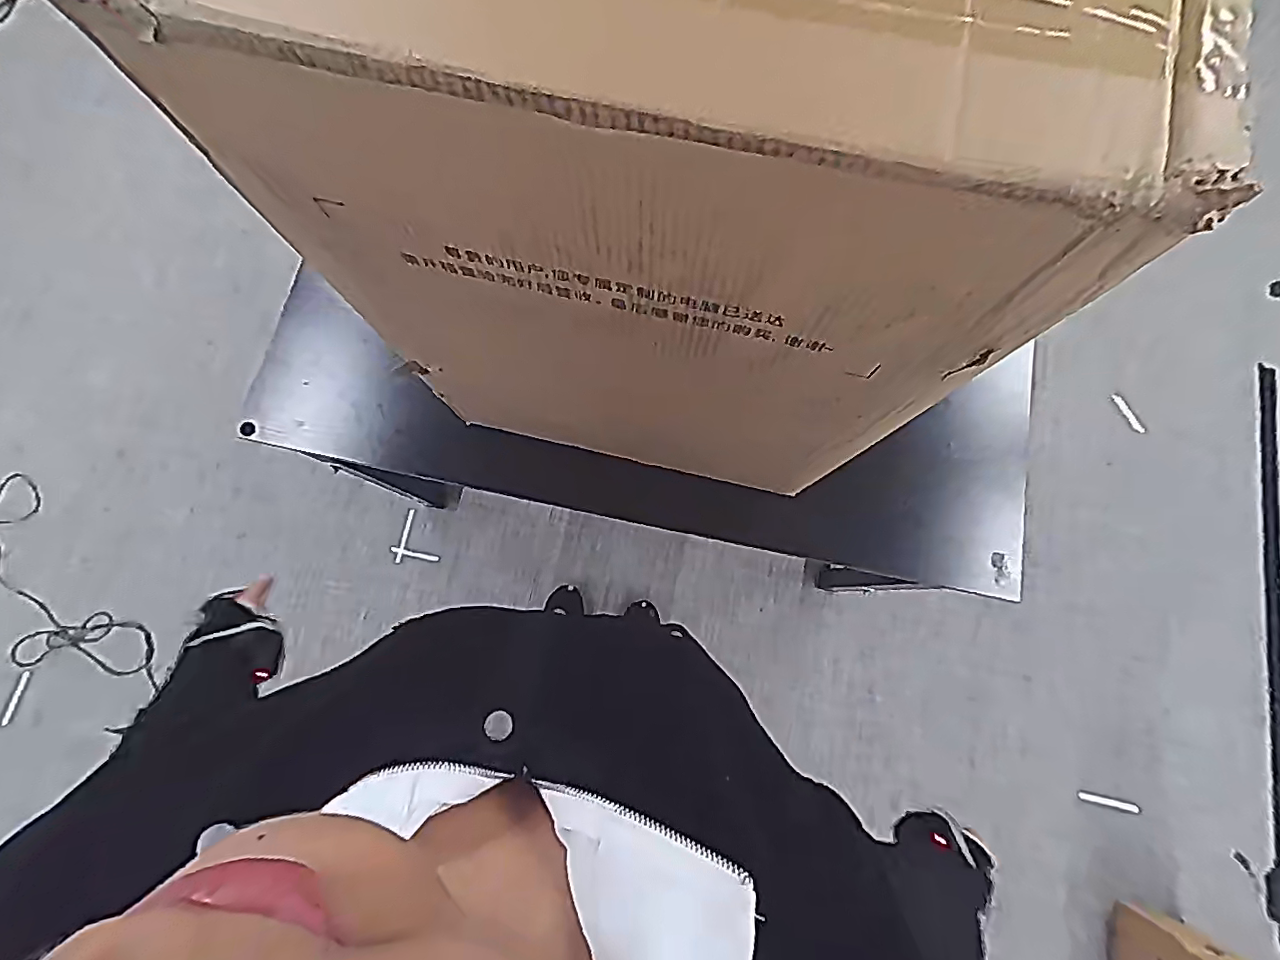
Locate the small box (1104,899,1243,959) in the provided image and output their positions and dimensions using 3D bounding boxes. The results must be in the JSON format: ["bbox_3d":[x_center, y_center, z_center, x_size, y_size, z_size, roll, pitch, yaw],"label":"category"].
[{"bbox_3d":[1.239,1.135,1.265,0.168,0.176,0.179,16,79,3],"label":"small box"}]

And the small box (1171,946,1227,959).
[{"bbox_3d":[1.243,1.110,1.102,0.179,0.176,0.168,16,78,3],"label":"small box"}]
